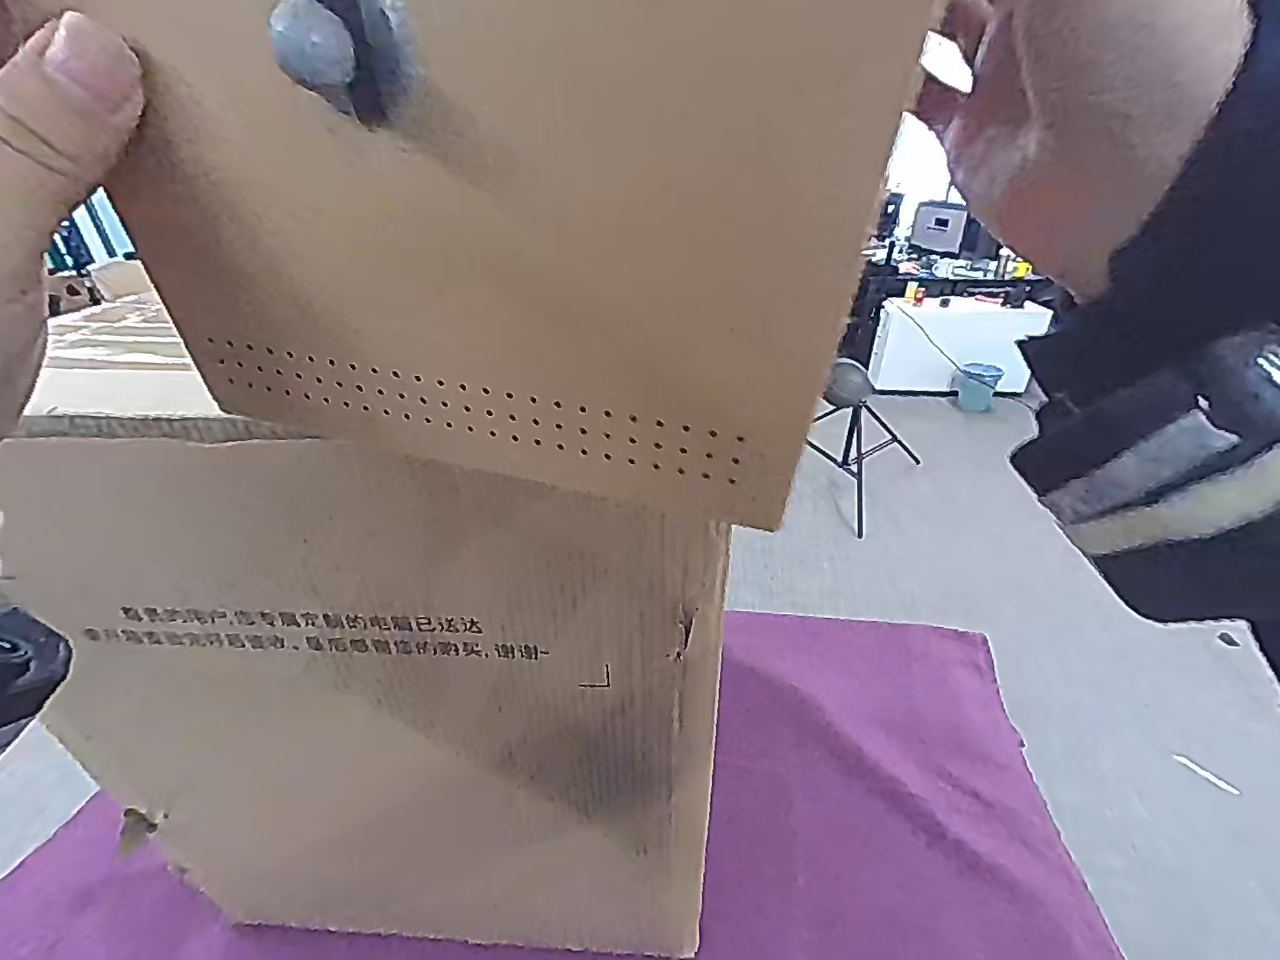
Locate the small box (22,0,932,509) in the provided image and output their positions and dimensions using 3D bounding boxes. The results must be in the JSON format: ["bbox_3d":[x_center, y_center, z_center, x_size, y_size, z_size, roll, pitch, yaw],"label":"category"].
[{"bbox_3d":[-0.021,-0.112,0.165,0.179,0.176,0.168,11,40,10],"label":"small box"}]
